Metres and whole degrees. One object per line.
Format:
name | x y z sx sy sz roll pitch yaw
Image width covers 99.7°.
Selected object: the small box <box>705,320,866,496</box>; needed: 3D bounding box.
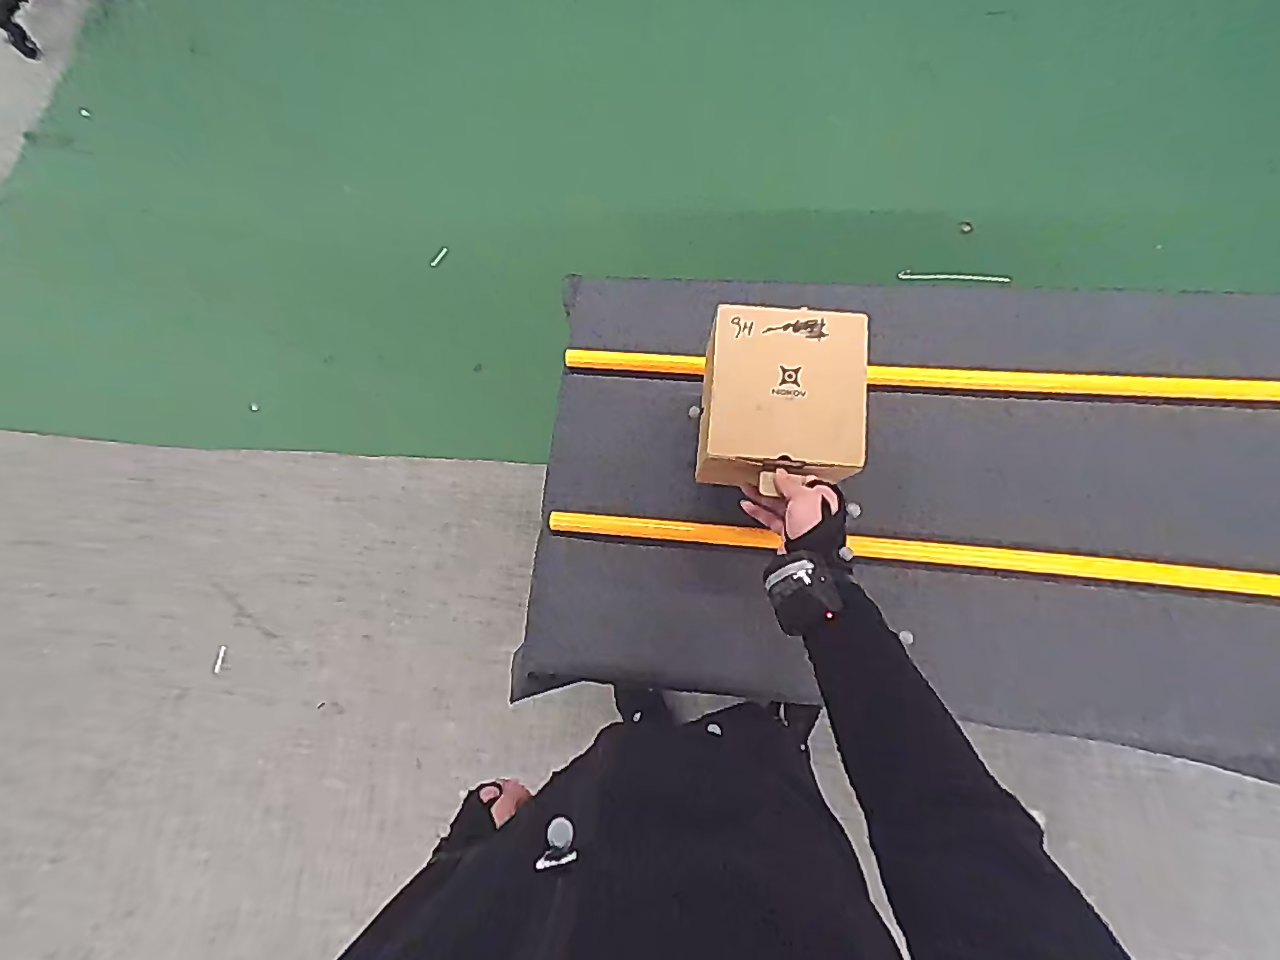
small box | 0.168 -0.077 0.664 0.168 0.176 0.179 2 80 5
